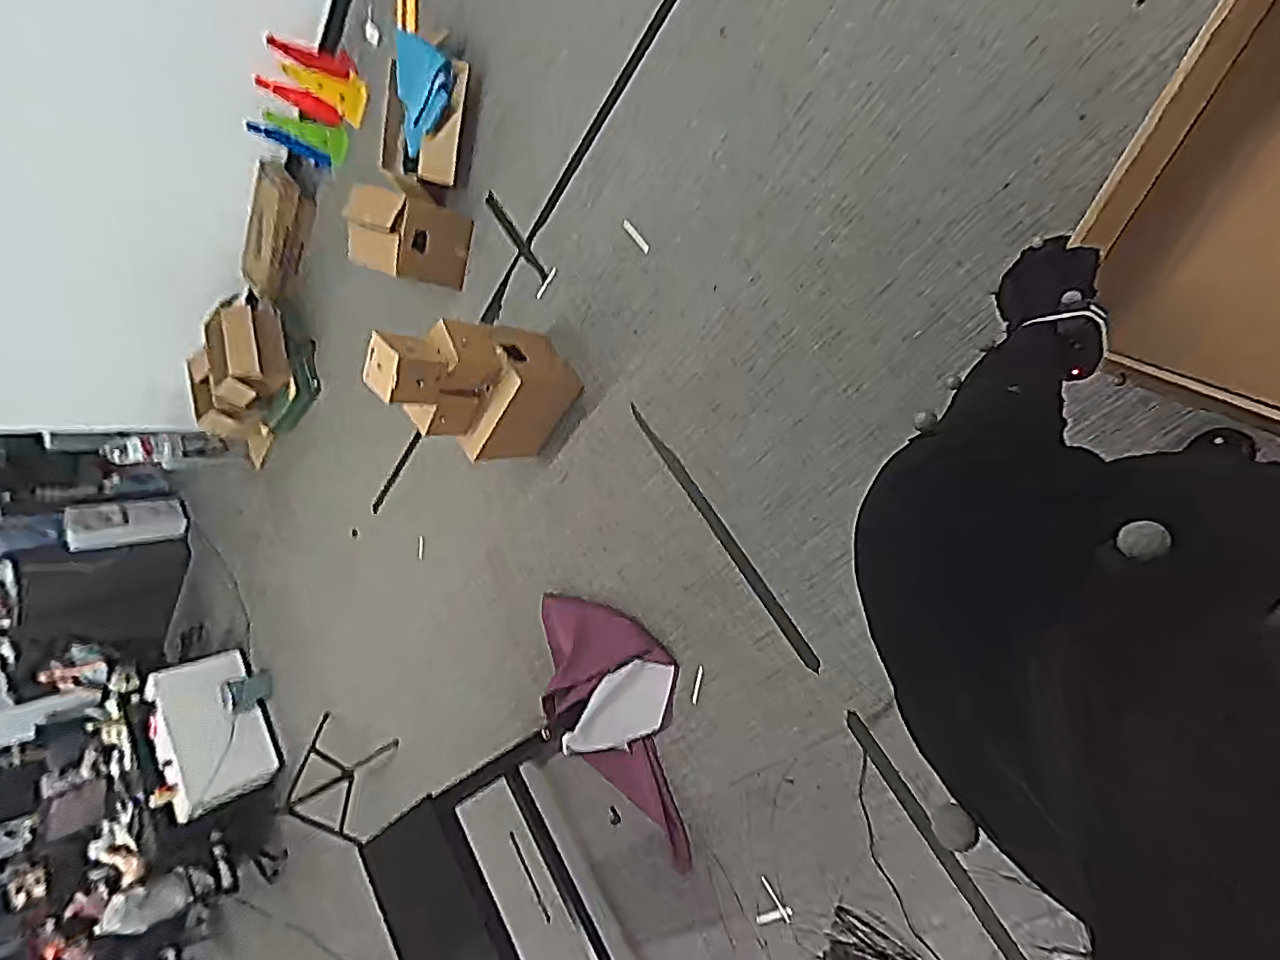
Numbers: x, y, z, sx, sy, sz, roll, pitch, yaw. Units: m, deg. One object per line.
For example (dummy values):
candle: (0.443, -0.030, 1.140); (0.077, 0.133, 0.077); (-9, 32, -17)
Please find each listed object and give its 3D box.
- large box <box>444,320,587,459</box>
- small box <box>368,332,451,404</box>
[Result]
large box: (-0.476, -0.329, 2.058); (0.320, 0.320, 0.408); (51, 121, 20)
small box: (-0.739, -0.359, 1.742); (0.179, 0.176, 0.168); (39, 116, 27)
